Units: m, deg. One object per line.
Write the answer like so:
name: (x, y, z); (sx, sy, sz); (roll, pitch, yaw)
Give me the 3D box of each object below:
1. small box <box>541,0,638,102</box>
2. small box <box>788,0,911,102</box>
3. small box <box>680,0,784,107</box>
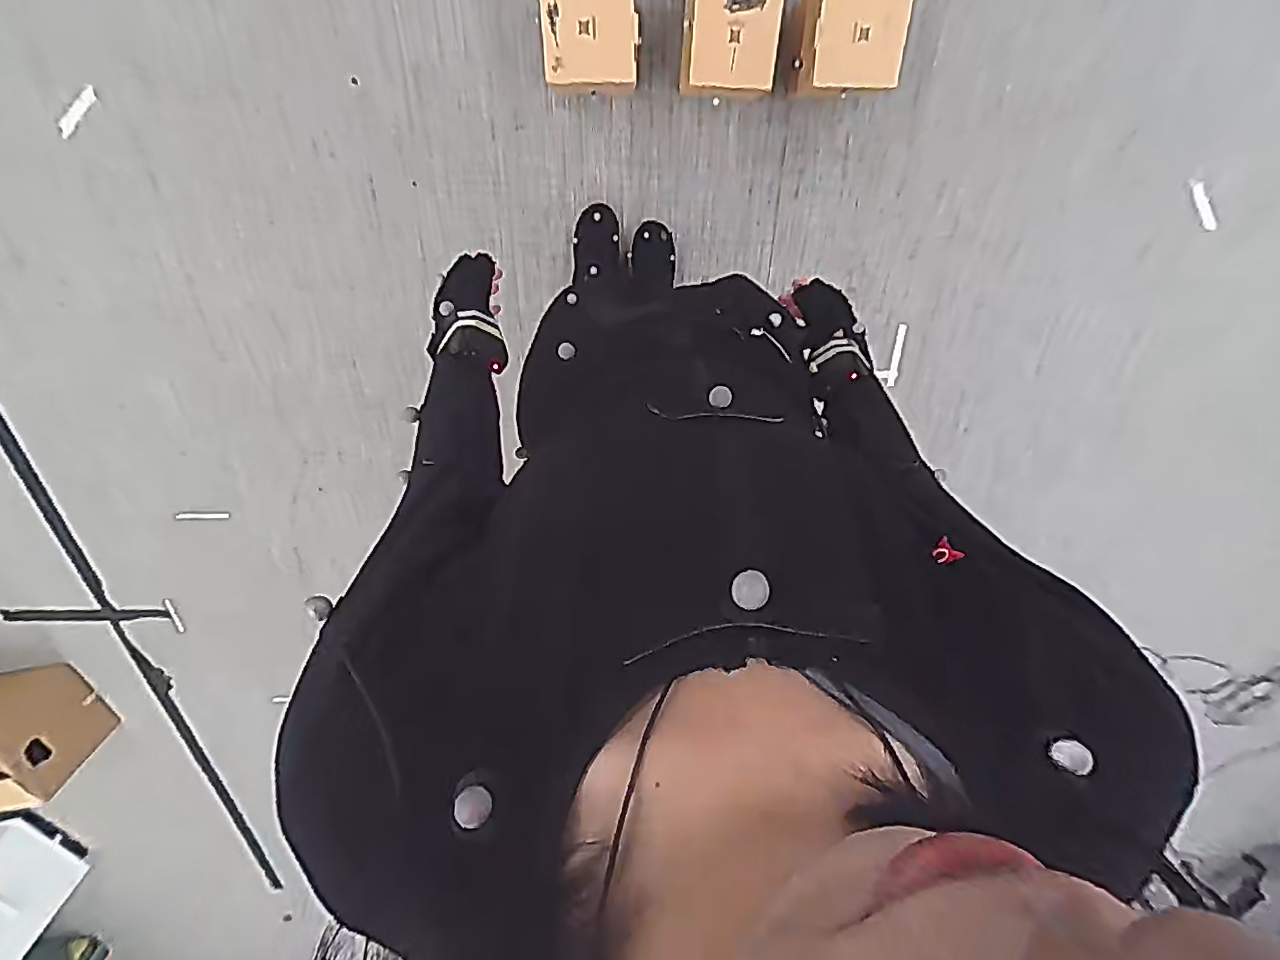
small box: (-0.098, -0.865, 1.076); (0.179, 0.176, 0.168); (-2, 119, -3)
small box: (0.414, -0.877, 1.099); (0.179, 0.176, 0.168); (-2, 120, -3)
small box: (0.175, -0.871, 1.087); (0.168, 0.176, 0.179); (1, 119, -4)
